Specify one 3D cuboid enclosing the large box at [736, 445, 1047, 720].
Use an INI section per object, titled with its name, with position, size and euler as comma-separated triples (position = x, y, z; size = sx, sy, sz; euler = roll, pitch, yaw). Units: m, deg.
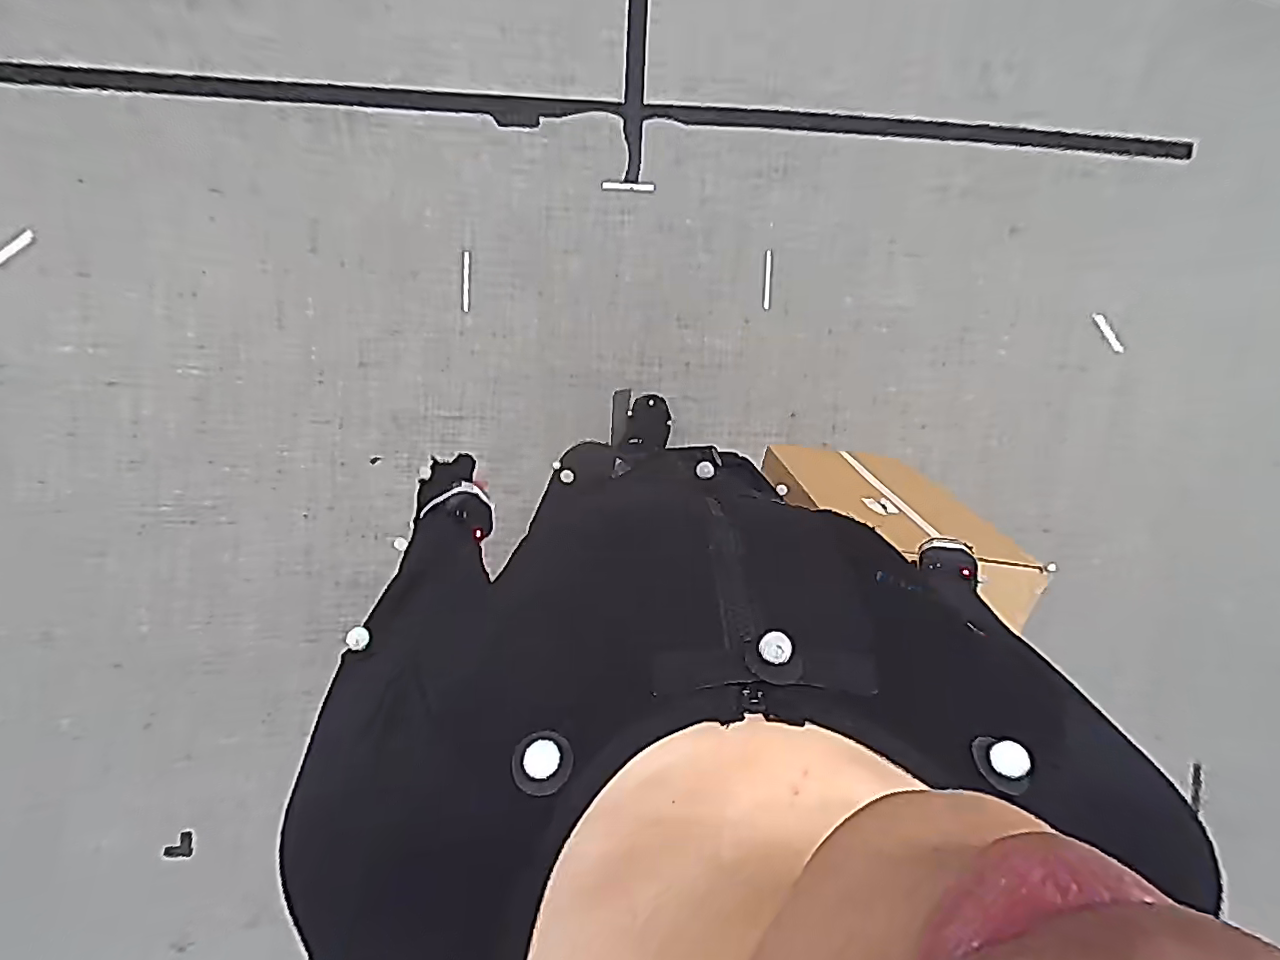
[large box]
position = 0.404, 0.167, 1.004
size = 0.320, 0.408, 0.320
euler = 7, 114, -8
